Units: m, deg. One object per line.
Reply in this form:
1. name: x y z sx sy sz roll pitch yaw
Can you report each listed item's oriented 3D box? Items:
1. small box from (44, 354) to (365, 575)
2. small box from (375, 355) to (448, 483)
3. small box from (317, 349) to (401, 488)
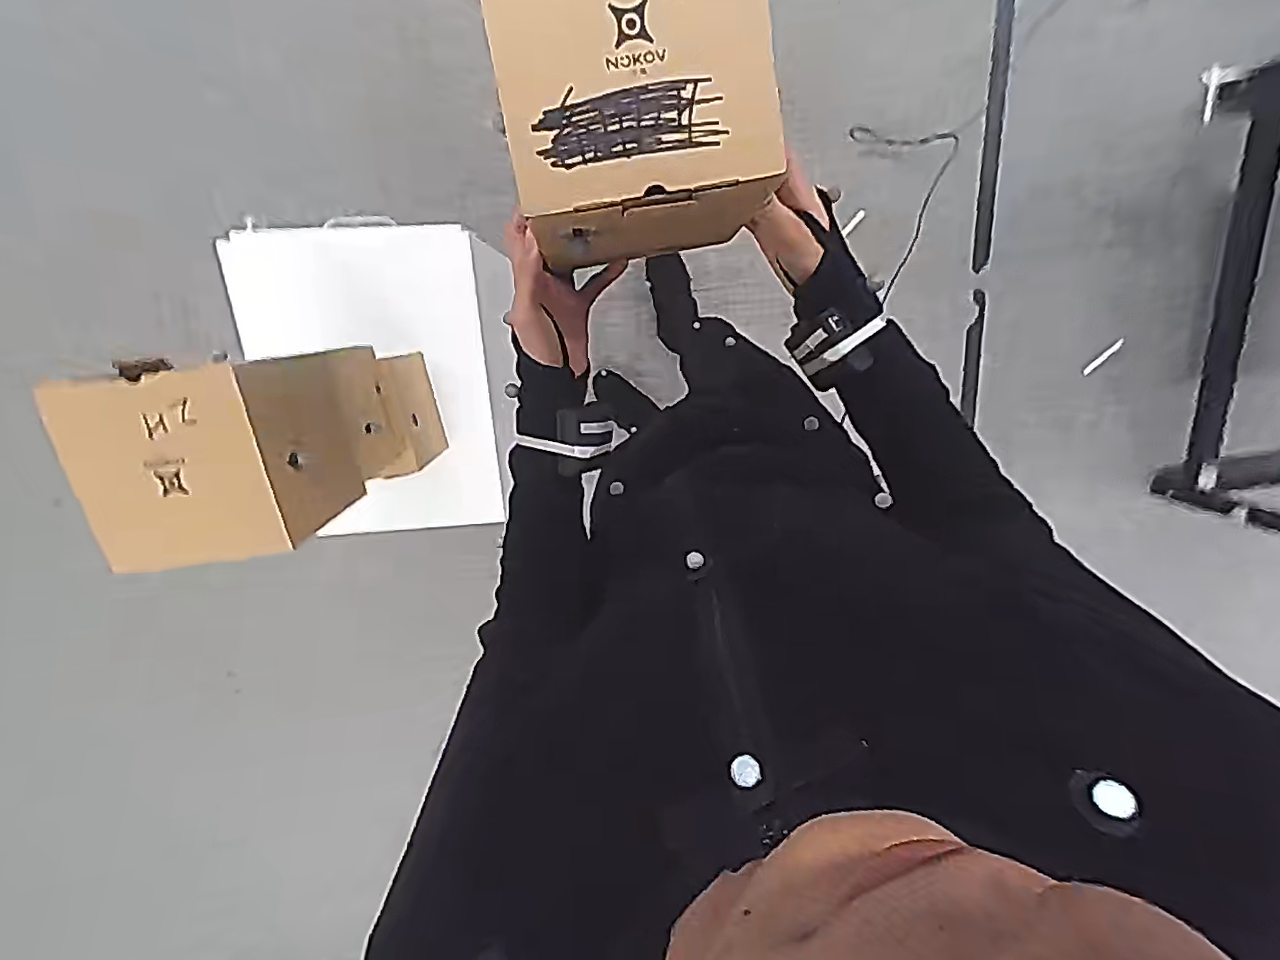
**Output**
1. small box: -0.411 -0.027 0.552 0.168 0.176 0.179 -8 107 -2
2. small box: -0.429 -0.098 0.872 0.168 0.176 0.179 -12 106 -1
3. small box: -0.436 -0.074 0.709 0.179 0.176 0.168 -11 107 -1
